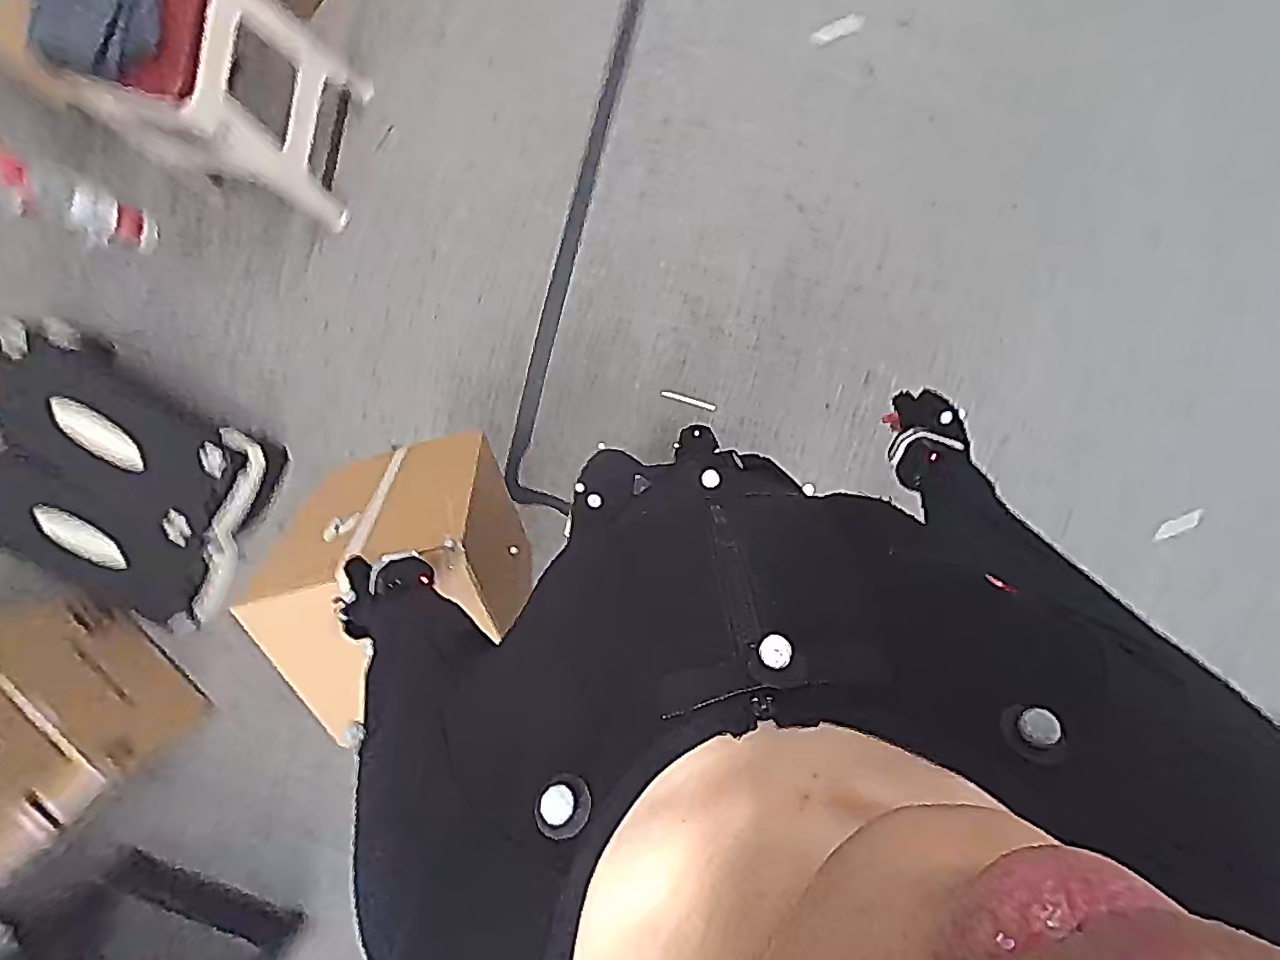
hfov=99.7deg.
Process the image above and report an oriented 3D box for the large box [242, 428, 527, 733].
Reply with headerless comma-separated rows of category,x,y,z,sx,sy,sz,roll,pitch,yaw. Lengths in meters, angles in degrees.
large box,-0.395,0.154,0.971,0.320,0.408,0.320,-16,121,-3
